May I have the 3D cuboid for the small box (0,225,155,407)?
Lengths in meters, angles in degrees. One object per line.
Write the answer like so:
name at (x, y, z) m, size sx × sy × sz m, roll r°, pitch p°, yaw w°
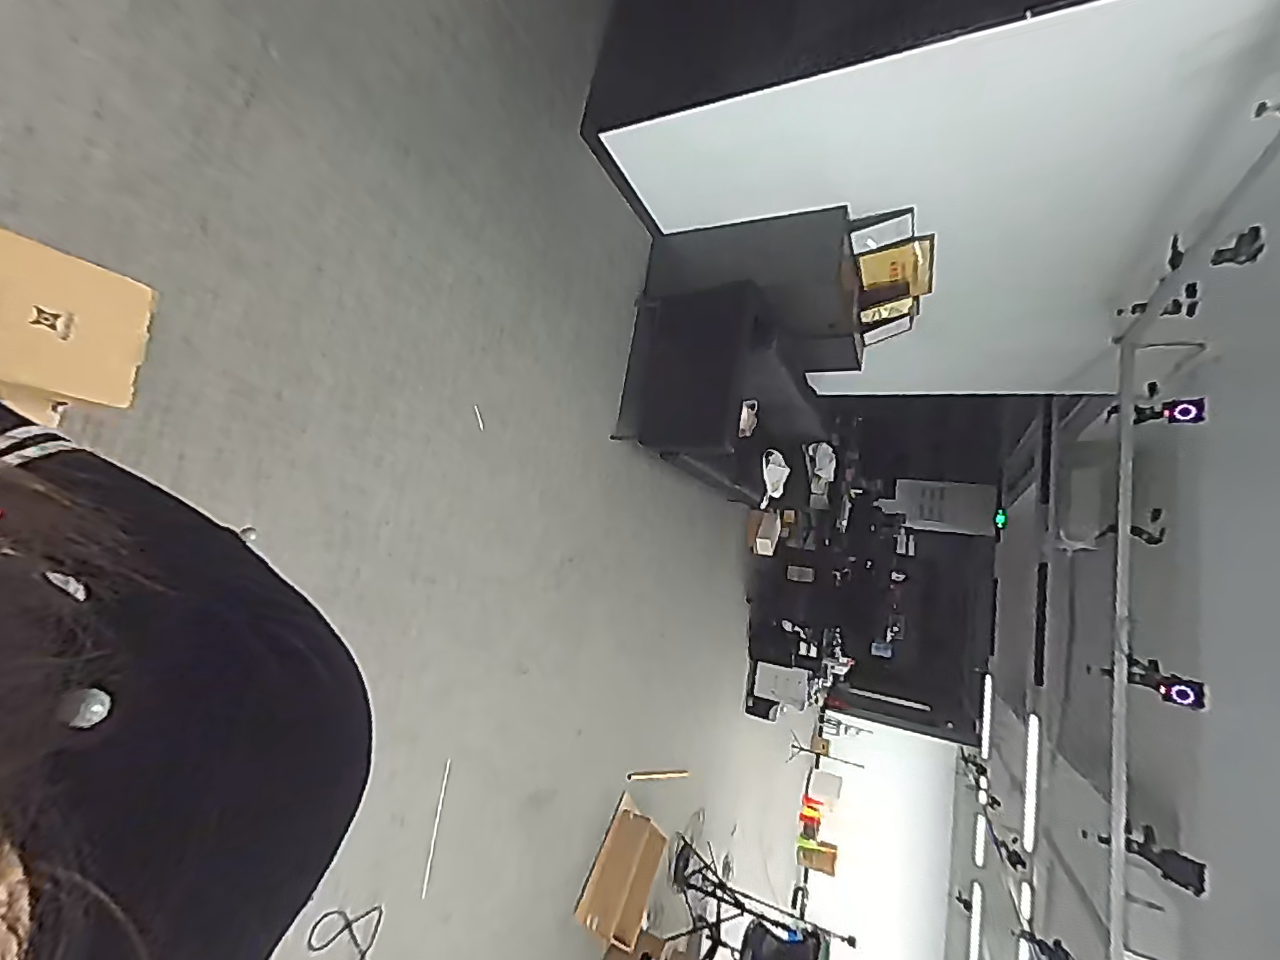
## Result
small box at (-0.761, -0.195, 0.666) m, size 0.179 × 0.176 × 0.168 m, roll 23°, pitch 73°, yaw -60°
